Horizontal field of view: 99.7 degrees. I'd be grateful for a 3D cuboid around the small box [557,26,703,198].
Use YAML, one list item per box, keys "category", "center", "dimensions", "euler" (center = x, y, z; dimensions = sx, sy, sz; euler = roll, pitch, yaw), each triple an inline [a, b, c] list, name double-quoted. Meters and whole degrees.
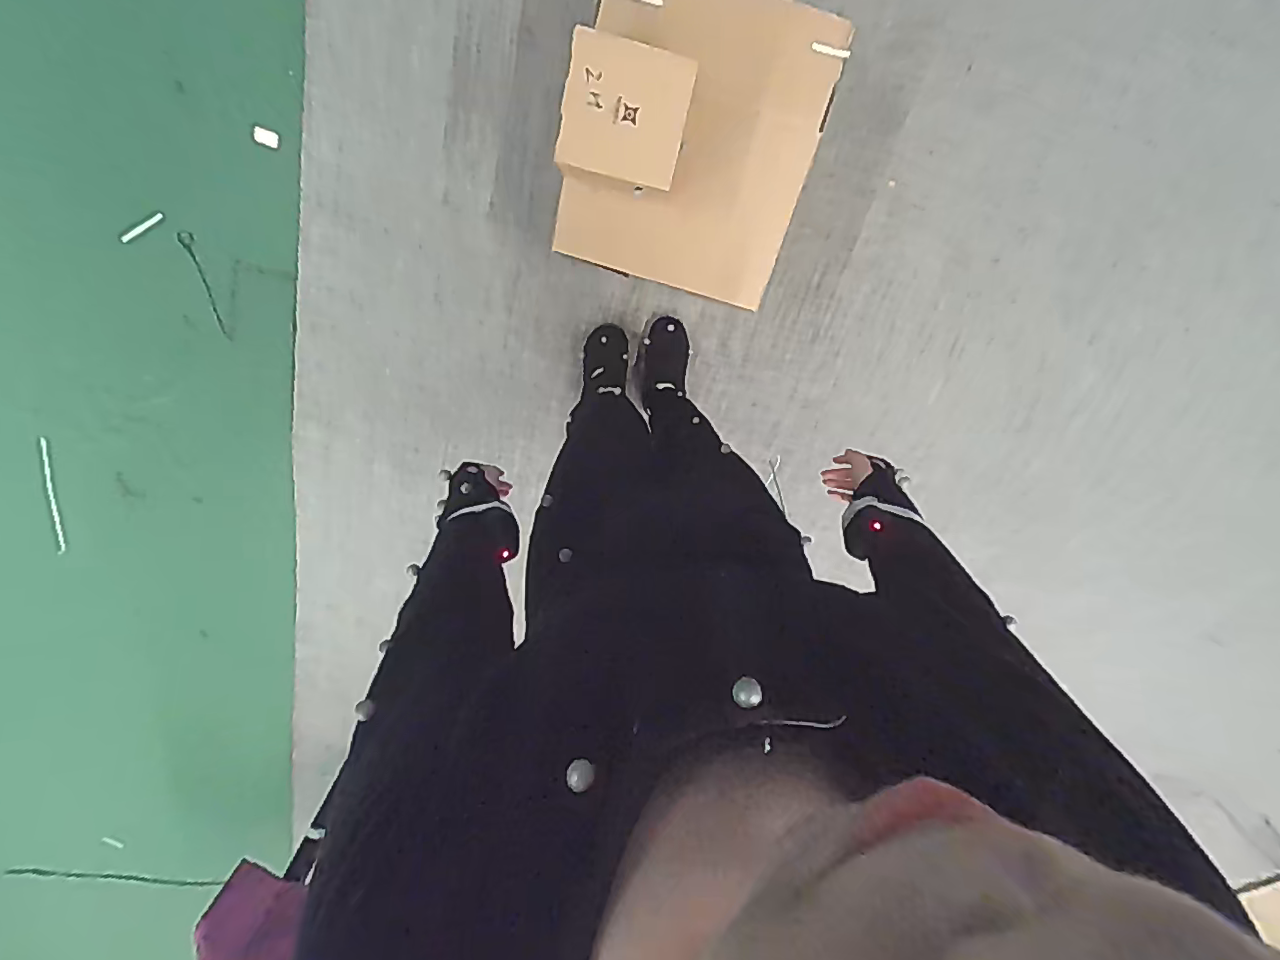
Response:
- category: "small box"
  center: [-0.017, -0.546, 0.831]
  dimensions: [0.179, 0.176, 0.168]
  euler: [13, 112, -5]
